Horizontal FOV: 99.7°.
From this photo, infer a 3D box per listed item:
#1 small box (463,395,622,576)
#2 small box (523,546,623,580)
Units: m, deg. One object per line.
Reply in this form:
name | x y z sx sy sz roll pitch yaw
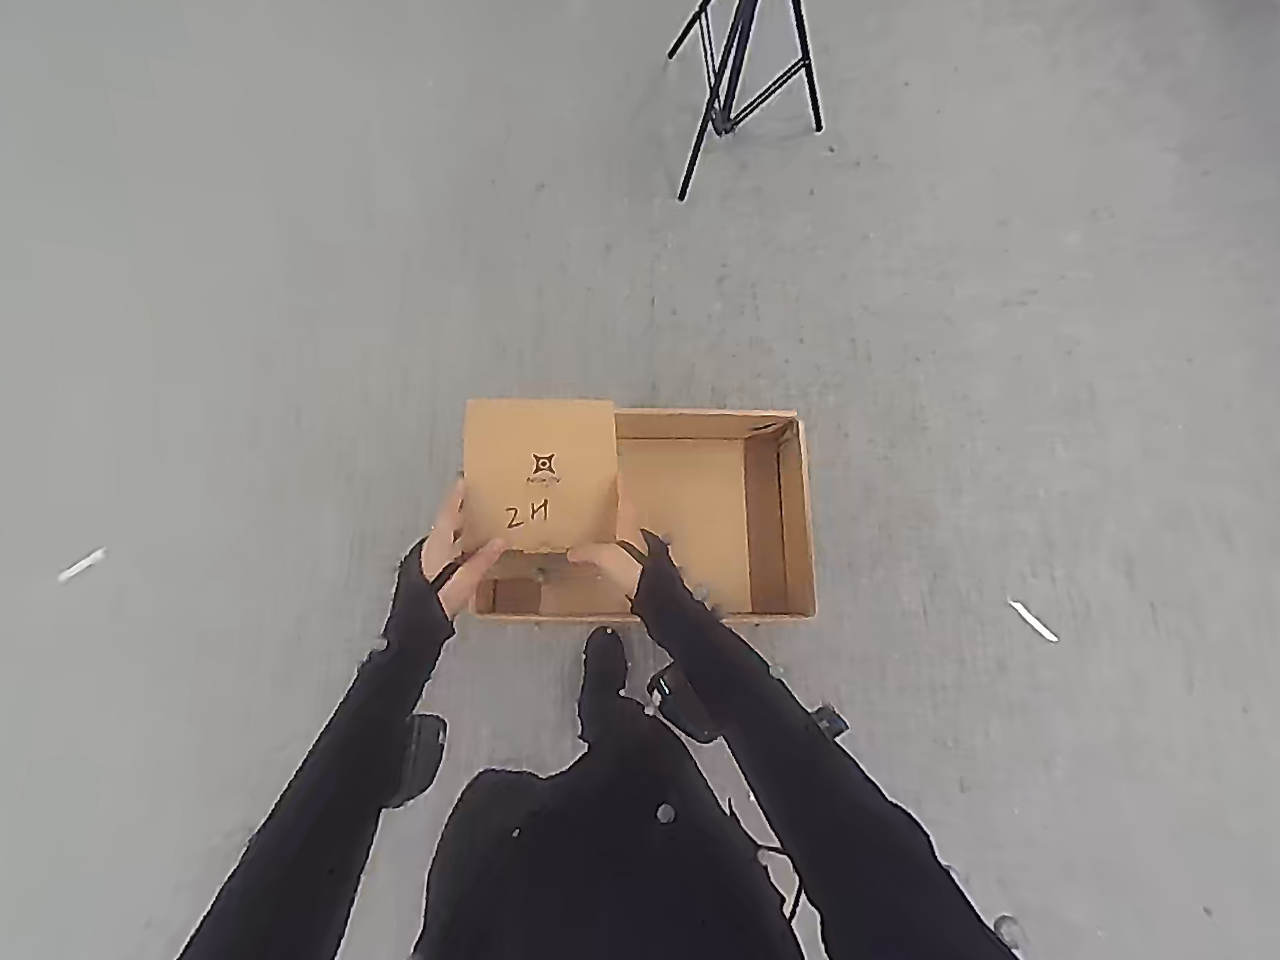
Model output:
small box | -0.118 0.014 0.657 0.168 0.176 0.179 -1 72 -11
small box | -0.124 0.100 1.028 0.179 0.176 0.168 -4 75 -2
